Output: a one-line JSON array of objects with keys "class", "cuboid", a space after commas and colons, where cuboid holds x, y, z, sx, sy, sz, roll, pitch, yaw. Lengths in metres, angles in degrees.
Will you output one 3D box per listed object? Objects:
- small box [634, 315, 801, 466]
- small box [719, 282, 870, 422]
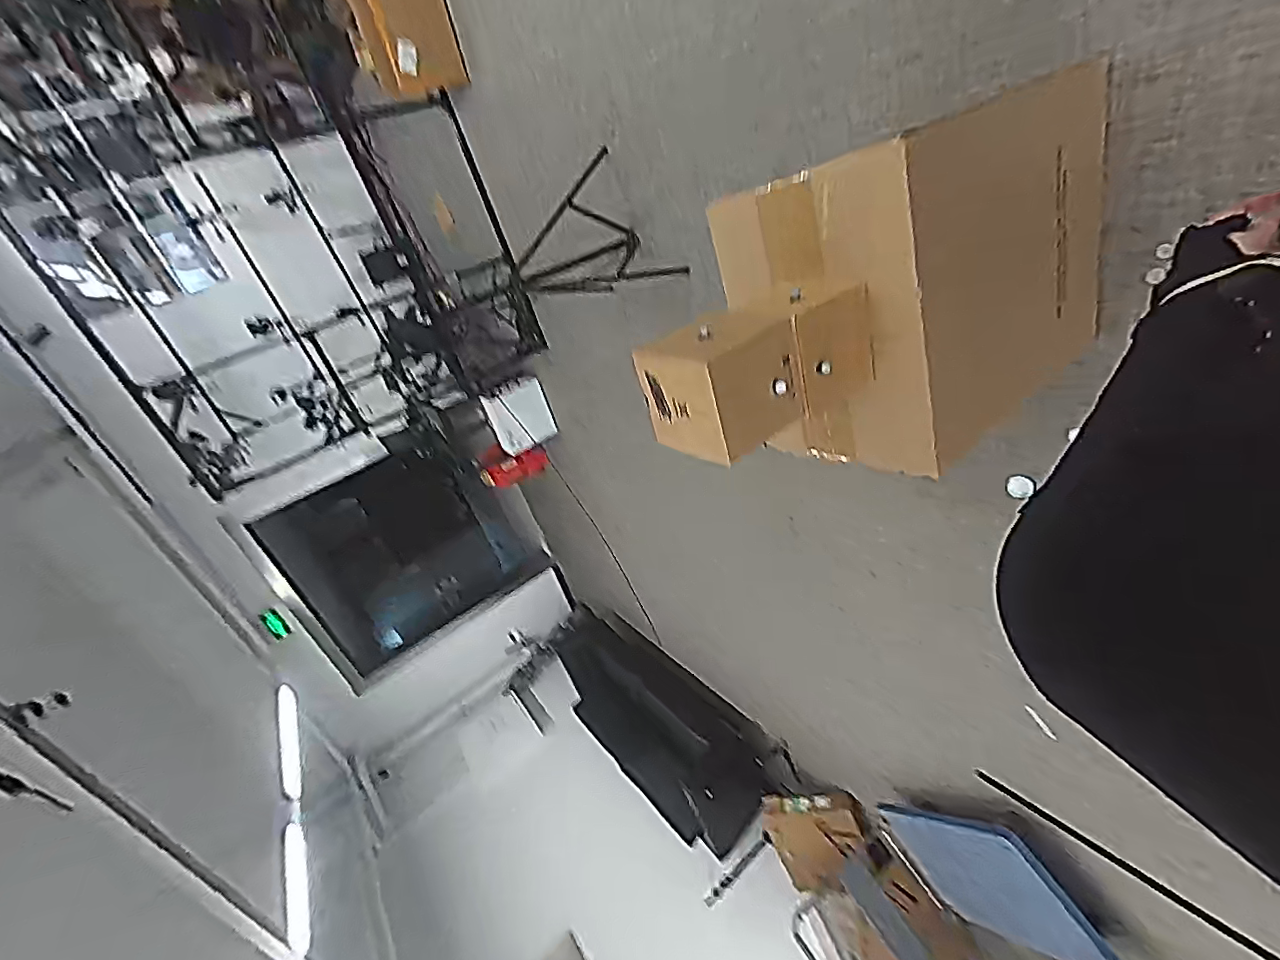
[{"class": "small box", "cuboid": [0.123, -0.149, 0.847, 0.179, 0.176, 0.168, 24, 140, 51]}, {"class": "small box", "cuboid": [0.260, -0.221, 0.903, 0.168, 0.176, 0.179, 24, 140, 52]}]
